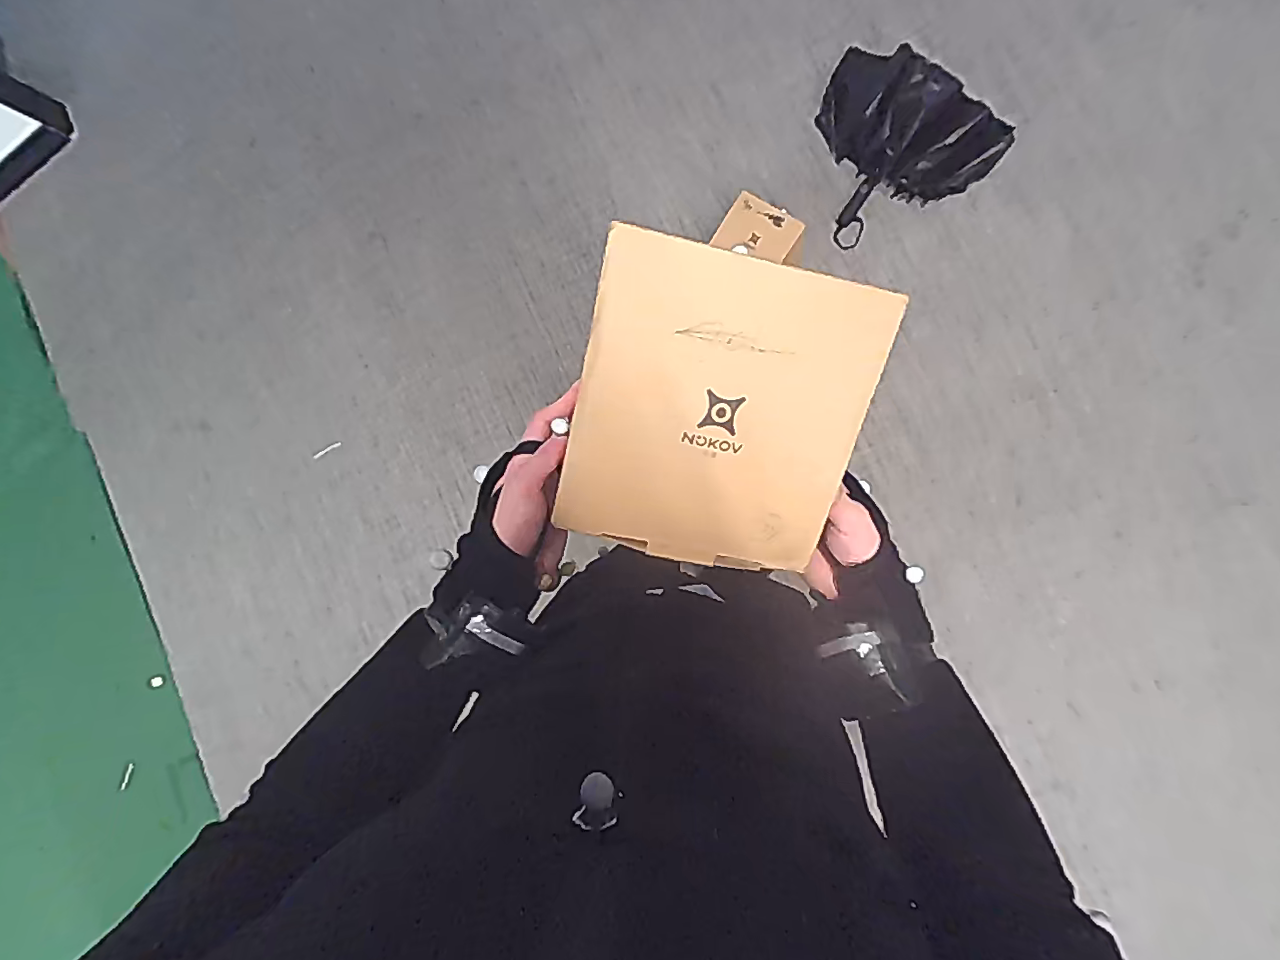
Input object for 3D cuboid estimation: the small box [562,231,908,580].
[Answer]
[{"bbox_3d":[0.046,-0.056,0.385,0.168,0.176,0.179,11,107,-7],"label":"small box"}]
